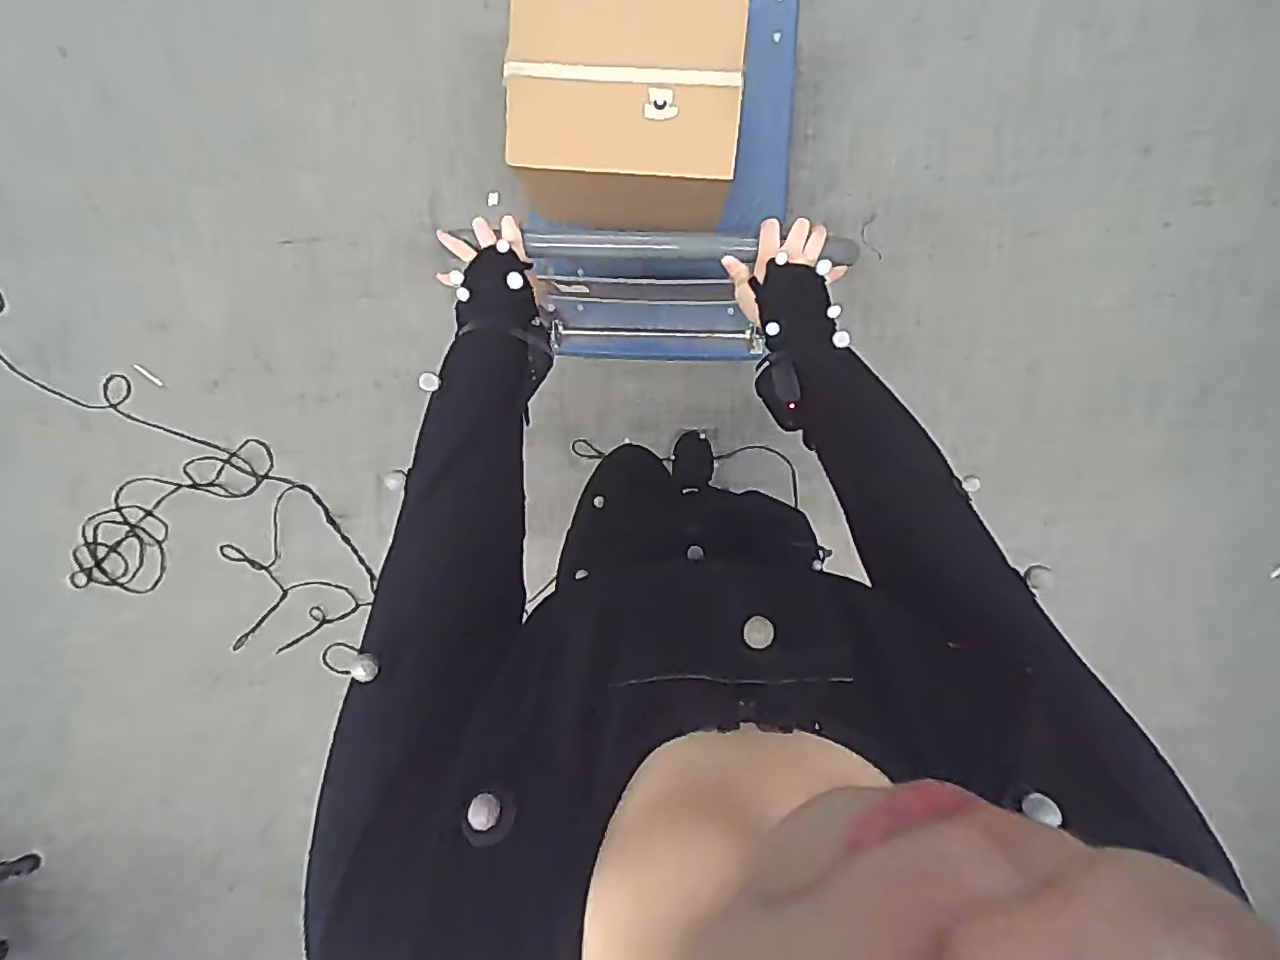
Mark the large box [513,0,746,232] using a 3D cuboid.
[{"bbox_3d":[-0.022,-0.719,1.096,0.408,0.320,0.320,4,98,1],"label":"large box"}]
